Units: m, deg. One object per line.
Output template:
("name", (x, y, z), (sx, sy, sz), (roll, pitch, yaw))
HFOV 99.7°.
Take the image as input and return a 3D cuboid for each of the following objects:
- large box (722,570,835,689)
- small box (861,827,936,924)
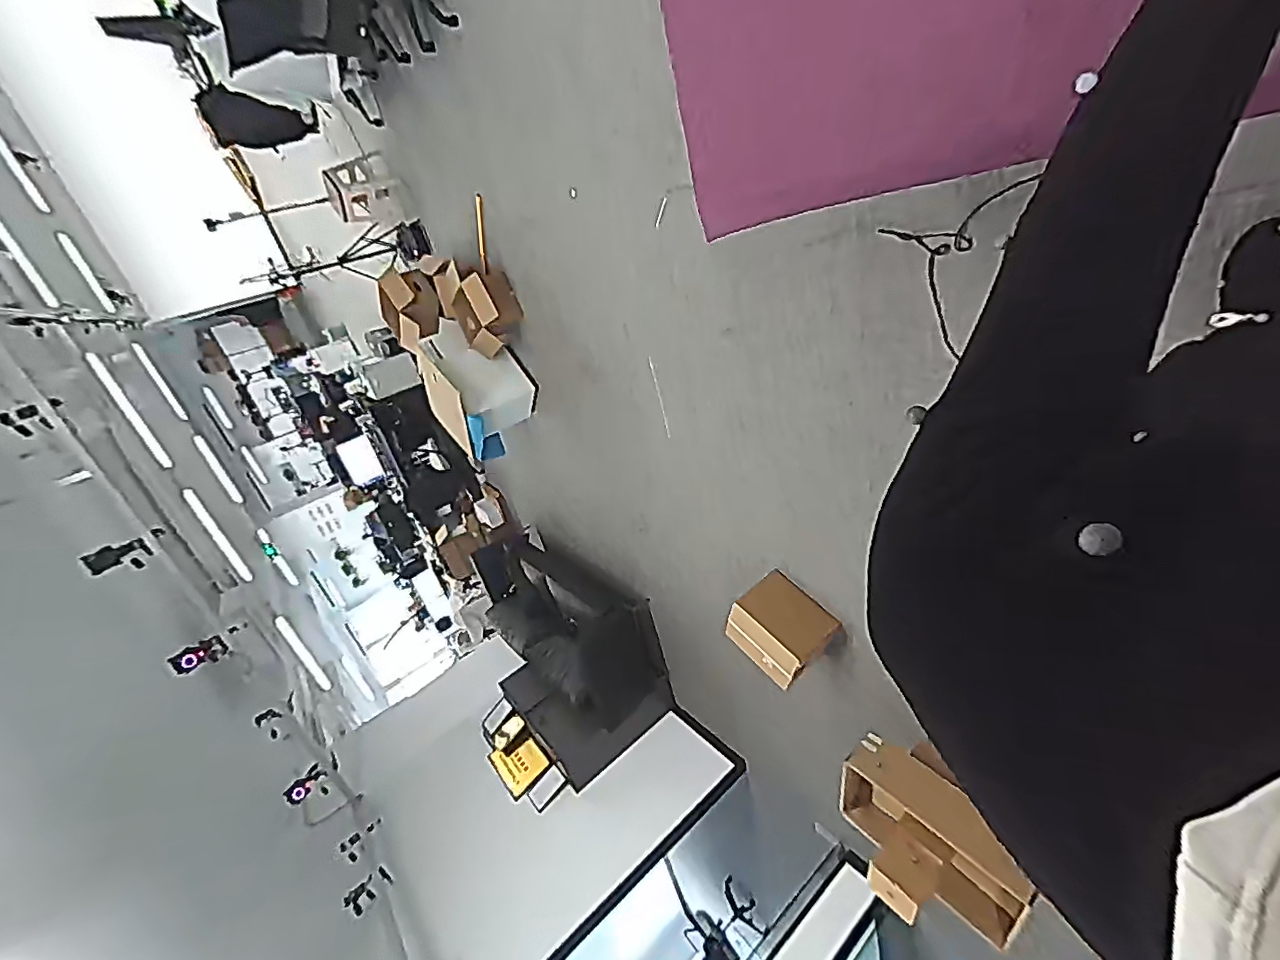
("large box", (0.671, 0.729, 2.666), (0.408, 0.320, 0.320), (39, 146, 31))
("small box", (0.877, 1.335, 1.832), (0.168, 0.176, 0.179), (28, 138, 43))
